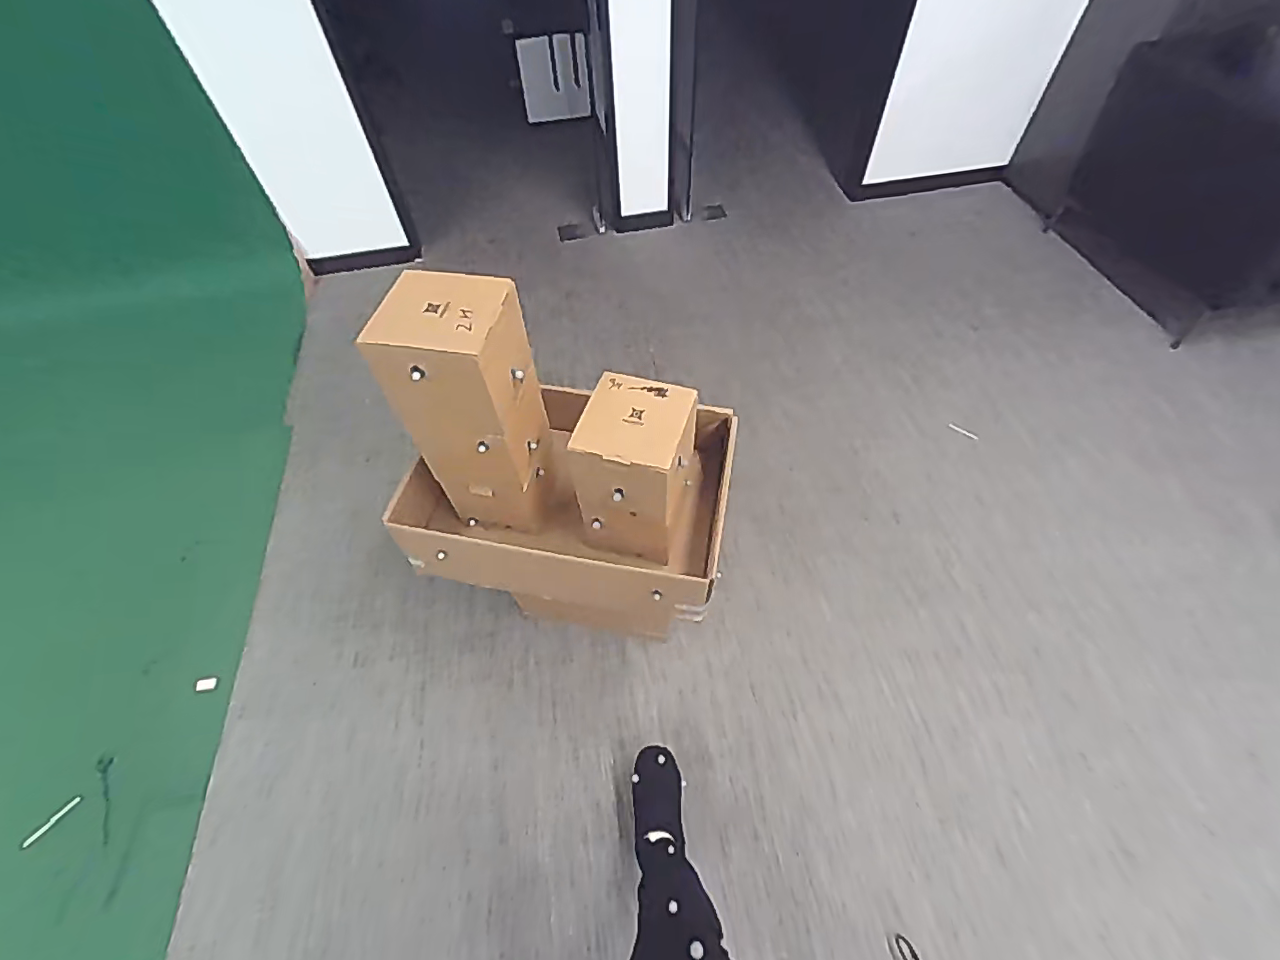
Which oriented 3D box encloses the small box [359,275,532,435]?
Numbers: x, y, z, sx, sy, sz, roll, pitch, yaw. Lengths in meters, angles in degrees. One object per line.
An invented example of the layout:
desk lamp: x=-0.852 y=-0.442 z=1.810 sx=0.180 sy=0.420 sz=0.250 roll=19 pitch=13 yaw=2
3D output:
small box: x=-0.281 y=-0.187 z=0.829 sx=0.179 sy=0.176 sz=0.168 roll=8 pitch=56 yaw=6

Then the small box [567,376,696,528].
small box: x=-0.007 y=-0.043 z=0.920 sx=0.168 sy=0.176 sz=0.179 roll=15 pitch=57 yaw=11

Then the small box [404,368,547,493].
small box: x=-0.281 y=-0.094 z=0.966 sx=0.179 sy=0.176 sz=0.168 roll=9 pitch=56 yaw=6
